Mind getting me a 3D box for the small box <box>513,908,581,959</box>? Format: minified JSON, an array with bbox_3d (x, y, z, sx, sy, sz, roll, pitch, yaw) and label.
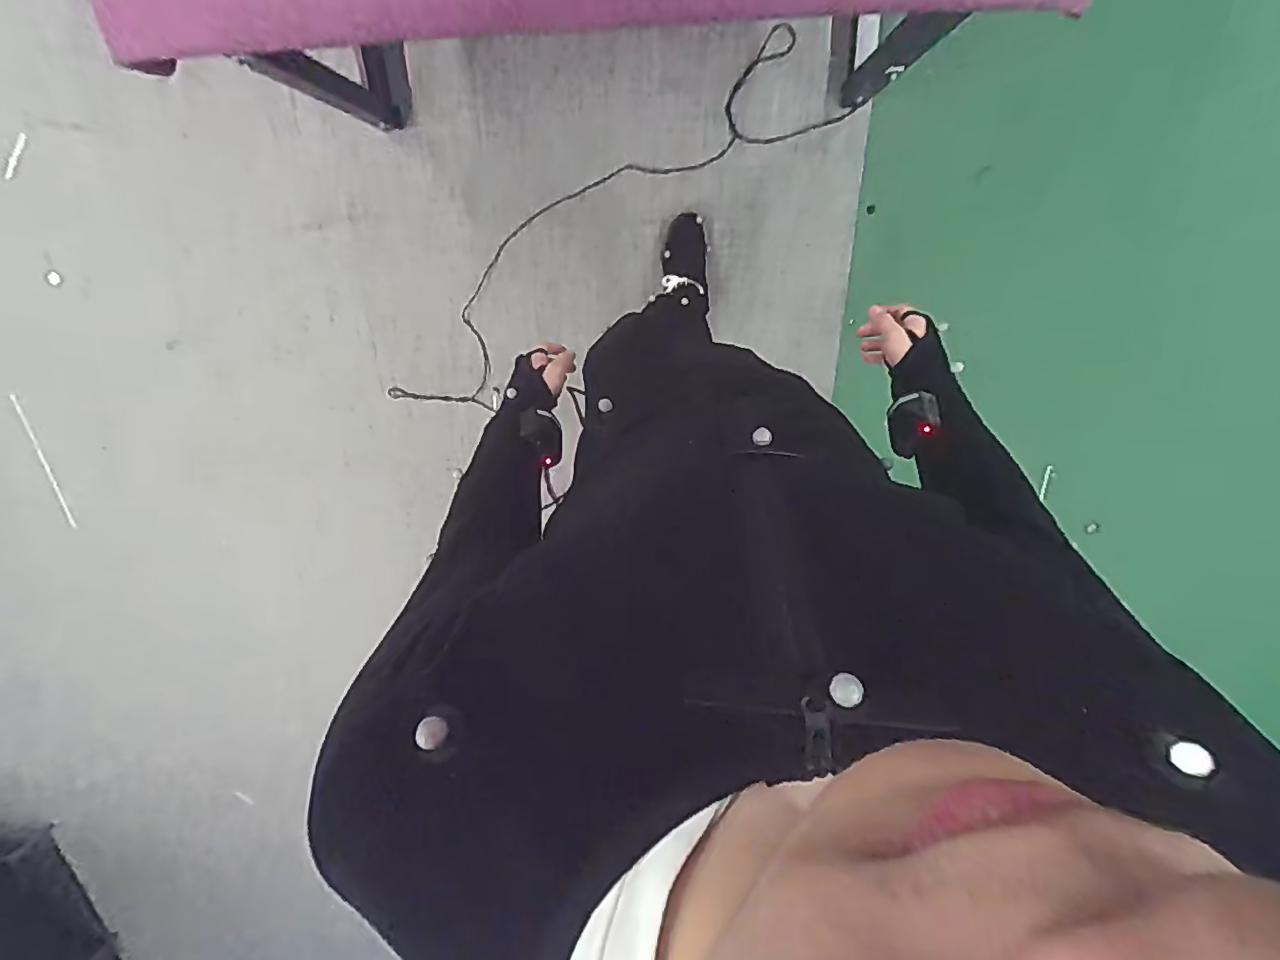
[{"bbox_3d":[-0.262,1.365,1.531,0.168,0.176,0.179,3,109,3],"label":"small box"}]
